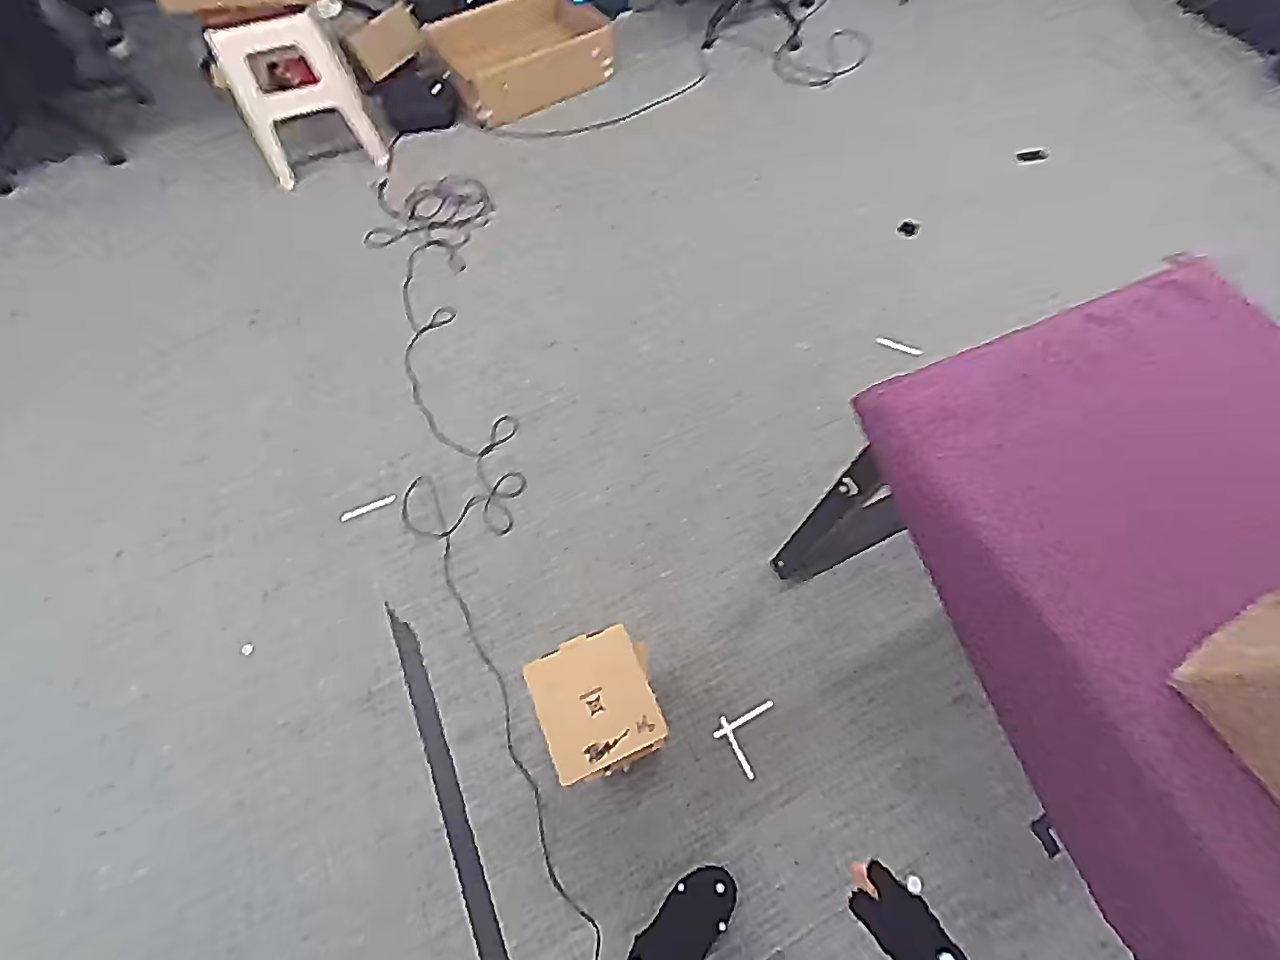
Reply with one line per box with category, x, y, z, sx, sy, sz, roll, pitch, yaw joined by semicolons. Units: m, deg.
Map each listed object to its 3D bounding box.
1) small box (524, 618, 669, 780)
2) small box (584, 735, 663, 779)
small box;-0.069;0.346;0.853;0.168;0.176;0.179;-22;67;-11
small box;-0.064;0.502;1.140;0.168;0.176;0.179;-22;68;-10
